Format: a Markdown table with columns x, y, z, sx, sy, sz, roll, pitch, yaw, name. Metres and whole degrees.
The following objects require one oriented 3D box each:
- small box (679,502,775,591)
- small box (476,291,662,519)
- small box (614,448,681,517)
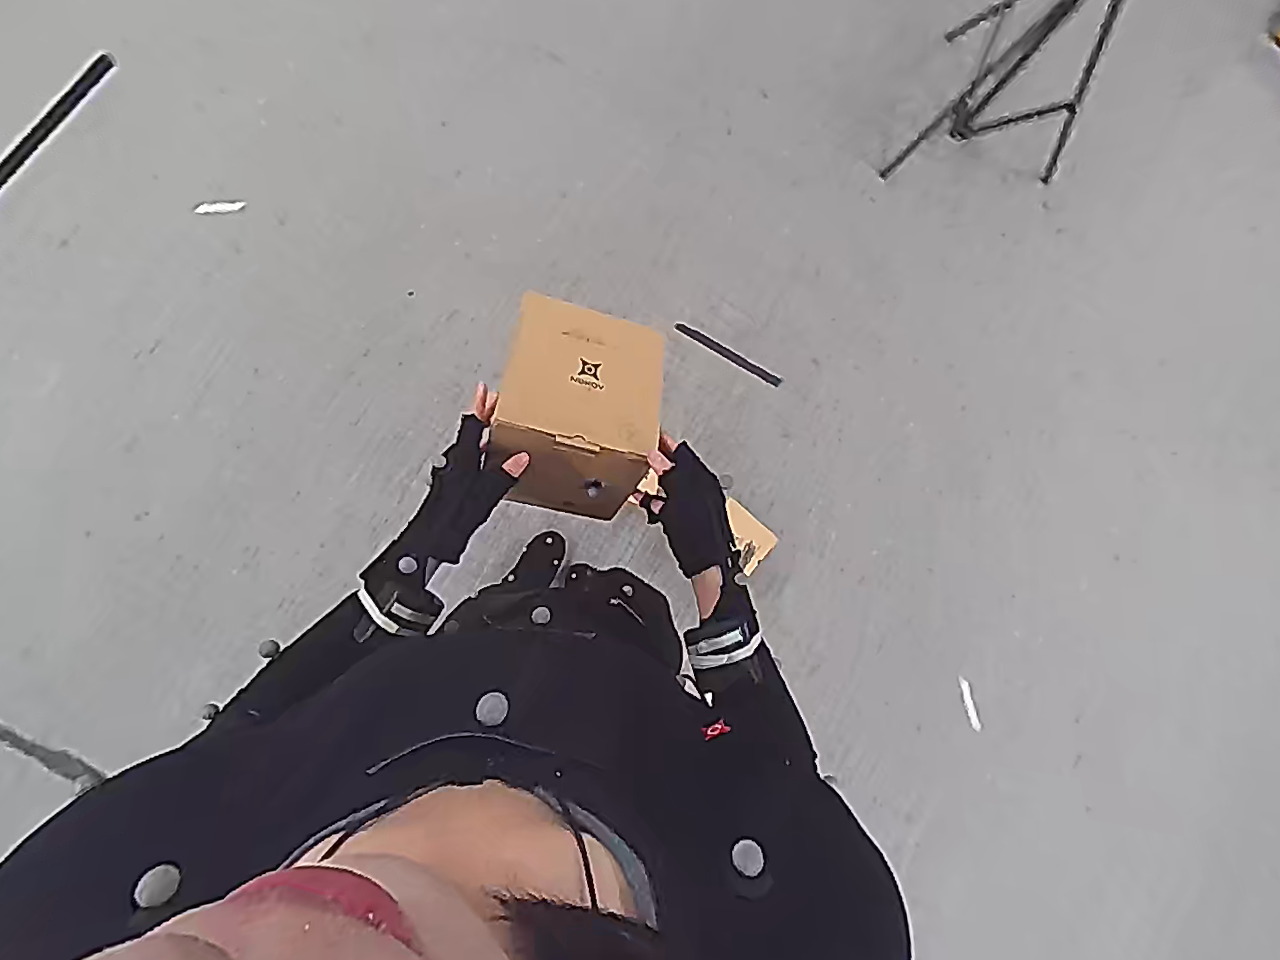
| x | y | z | sx | sy | sz | roll | pitch | yaw | name |
| --- | --- | --- | --- | --- | --- | --- | --- | --- | --- |
| 0.232 | 0.181 | 1.489 | 0.179 | 0.176 | 0.168 | 42 | 80 | 1 | small box |
| -0.086 | -0.073 | 0.622 | 0.168 | 0.176 | 0.179 | 14 | 58 | -17 | small box |
| -0.010 | -0.003 | 1.486 | 0.179 | 0.176 | 0.168 | 24 | 81 | -2 | small box |
